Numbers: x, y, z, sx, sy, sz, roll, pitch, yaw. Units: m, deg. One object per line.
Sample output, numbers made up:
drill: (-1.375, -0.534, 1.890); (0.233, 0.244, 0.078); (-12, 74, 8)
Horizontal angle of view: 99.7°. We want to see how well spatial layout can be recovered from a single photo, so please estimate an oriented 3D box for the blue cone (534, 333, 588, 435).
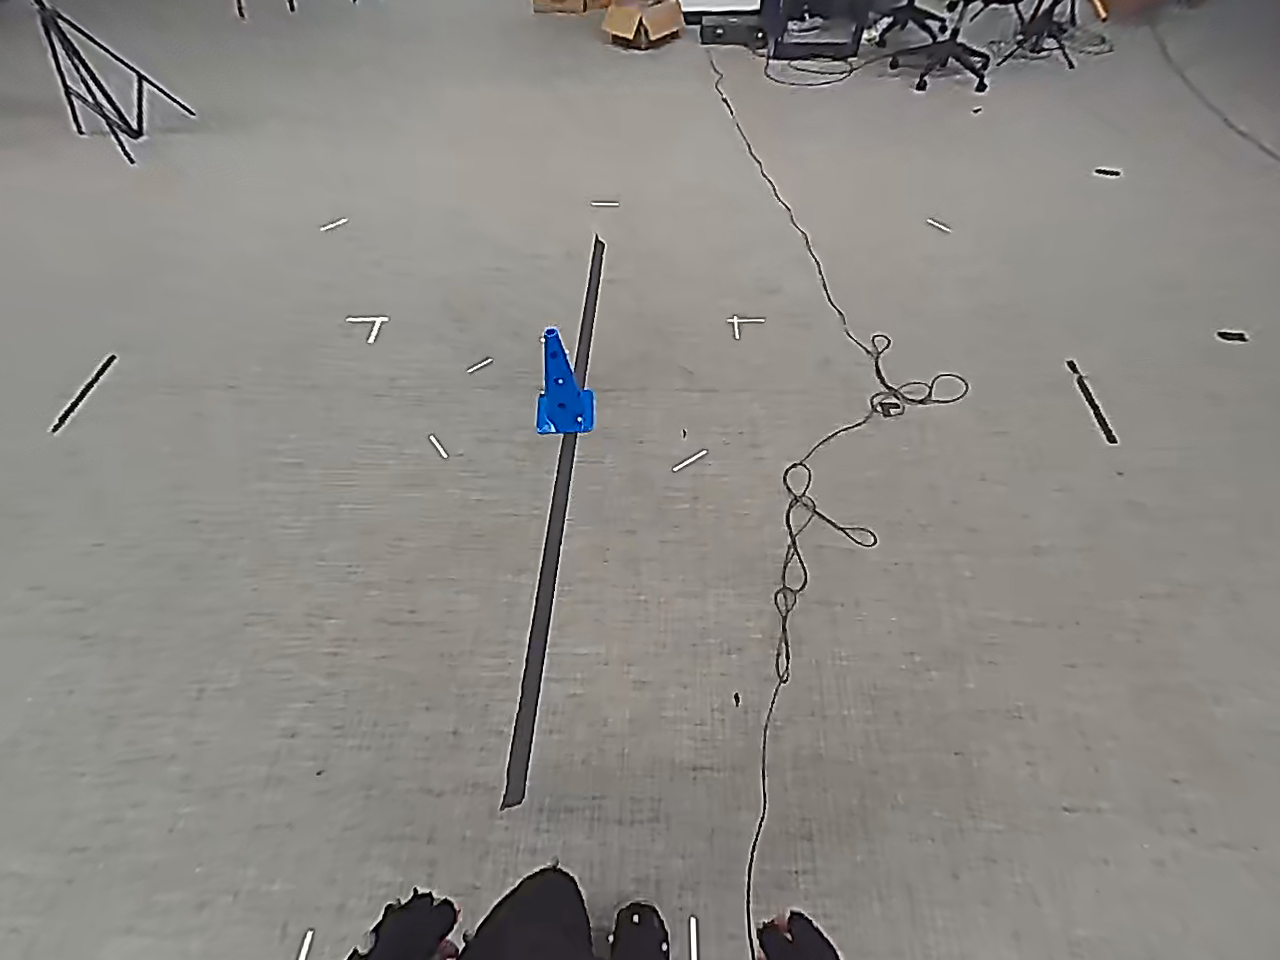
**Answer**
blue cone: (-0.283, -0.333, 1.799); (0.192, 0.380, 0.193); (-2, 54, 0)
